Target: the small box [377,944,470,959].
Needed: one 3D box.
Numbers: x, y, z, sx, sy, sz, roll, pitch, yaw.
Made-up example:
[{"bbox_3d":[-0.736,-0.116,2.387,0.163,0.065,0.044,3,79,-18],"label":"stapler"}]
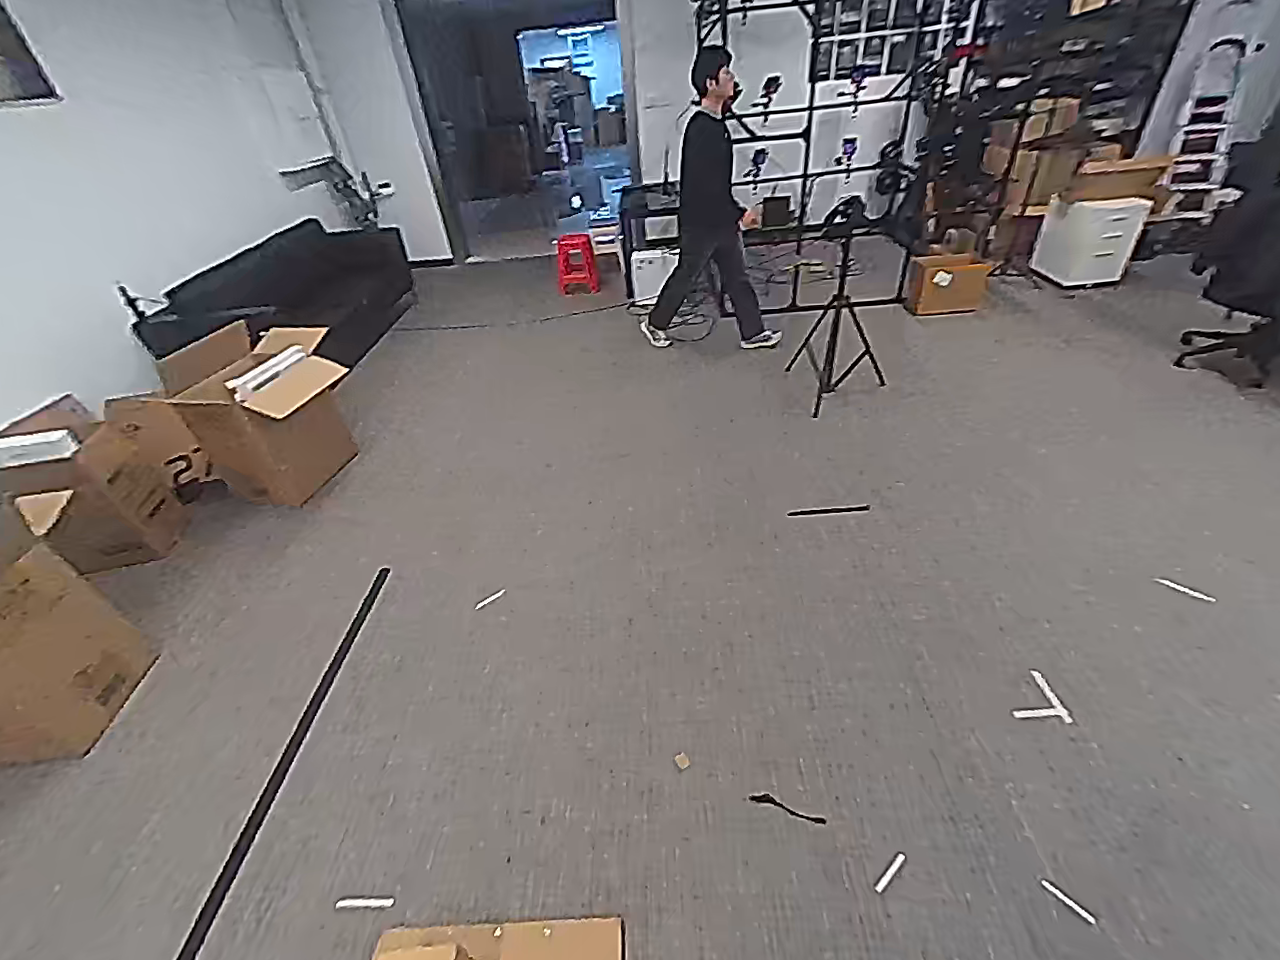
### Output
[{"bbox_3d":[-0.475,1.139,1.166,0.179,0.176,0.168,-6,37,-1],"label":"small box"}]
